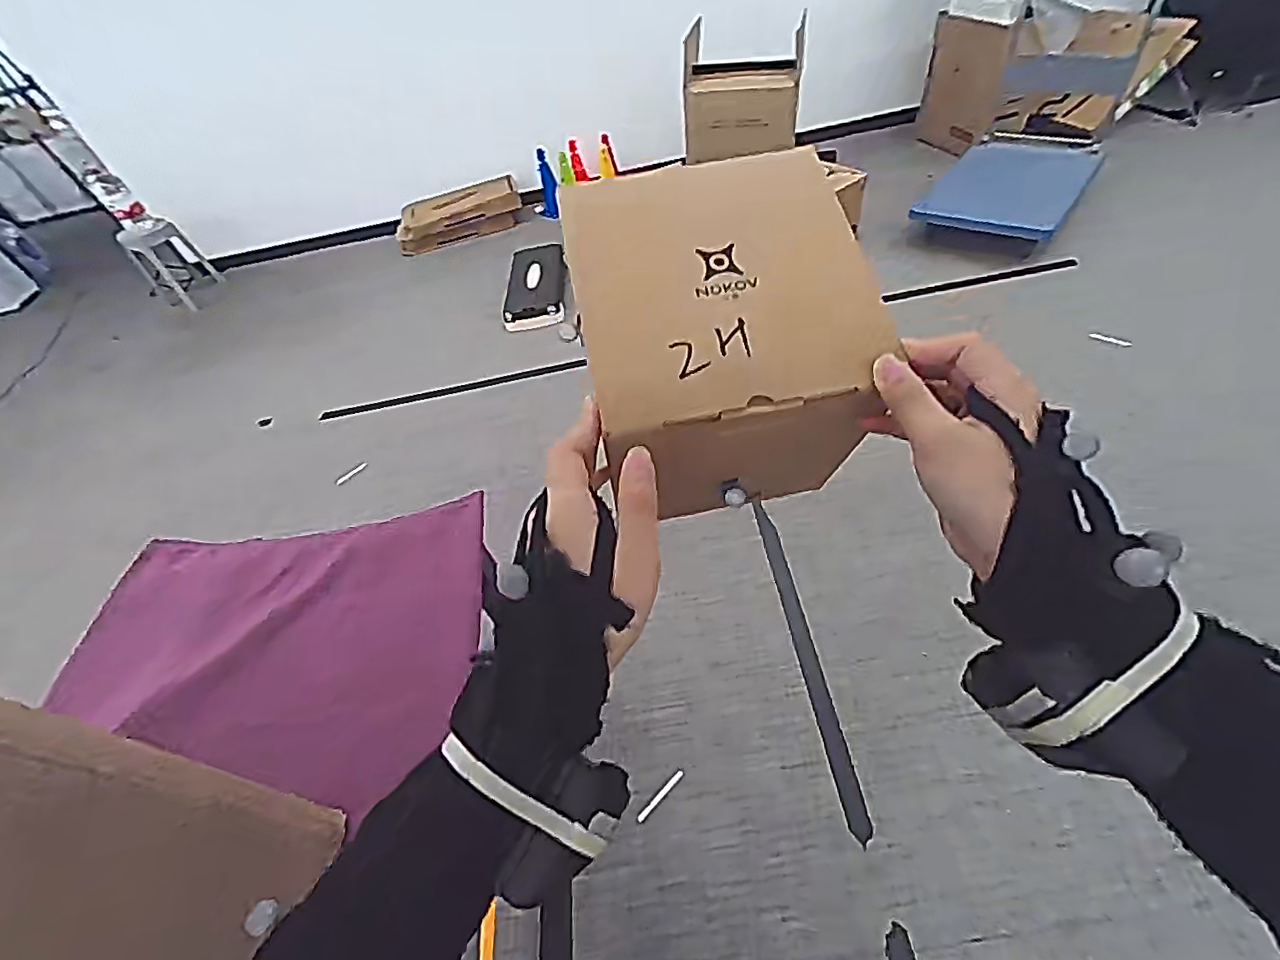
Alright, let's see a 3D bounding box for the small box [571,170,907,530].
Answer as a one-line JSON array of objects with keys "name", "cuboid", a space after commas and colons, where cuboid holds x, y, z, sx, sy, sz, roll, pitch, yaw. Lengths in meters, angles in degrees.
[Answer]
[{"name": "small box", "cuboid": [0.051, -0.080, 0.391, 0.168, 0.176, 0.179, -11, 69, -3]}]
